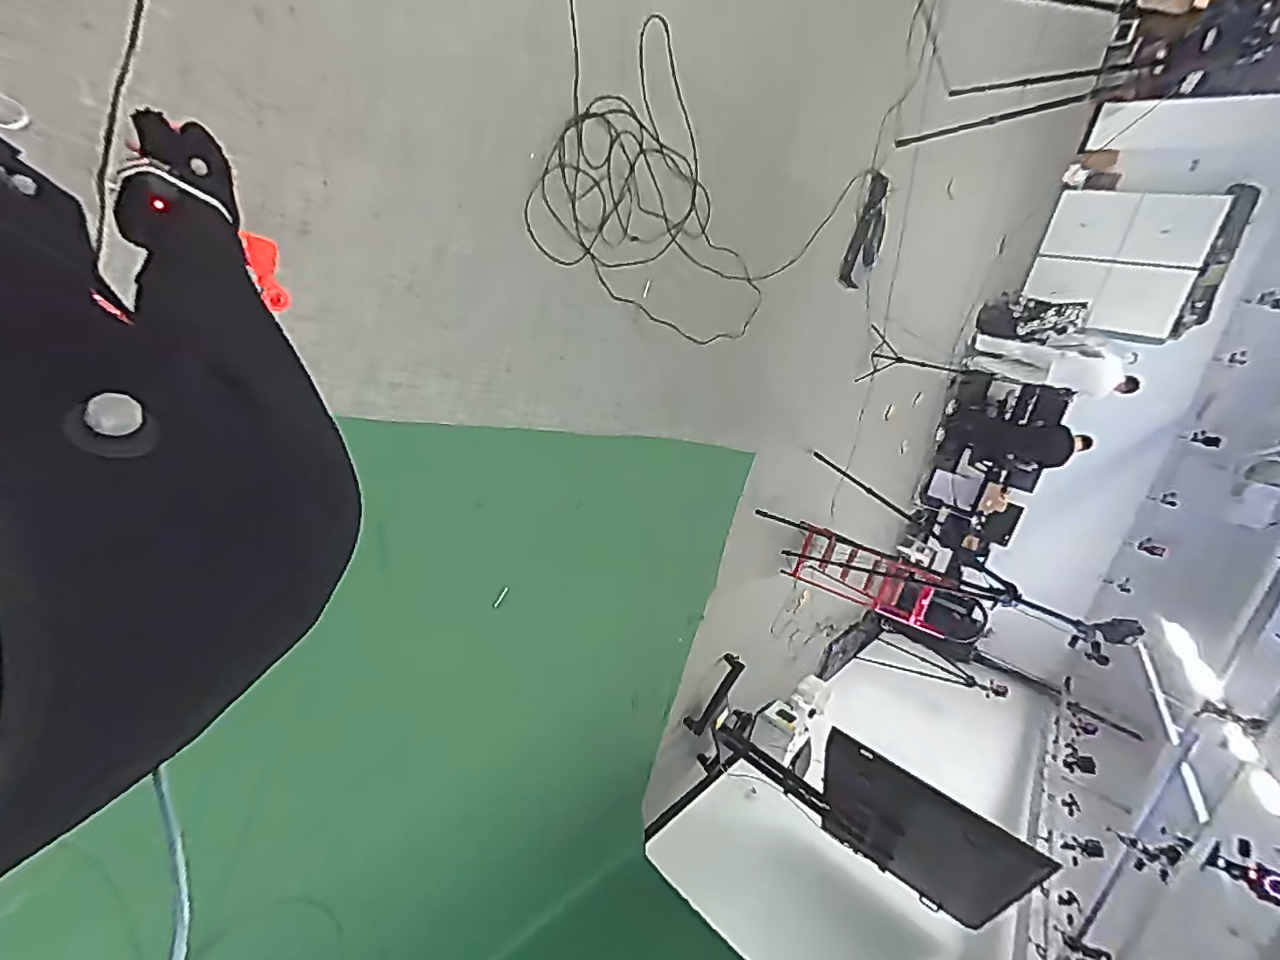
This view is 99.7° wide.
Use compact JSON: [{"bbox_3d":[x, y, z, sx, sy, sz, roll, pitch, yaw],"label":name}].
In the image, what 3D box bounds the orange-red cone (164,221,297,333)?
[{"bbox_3d":[-0.766,-0.375,1.067,0.198,0.360,0.199,-1,110,-52],"label":"orange-red cone"}]
